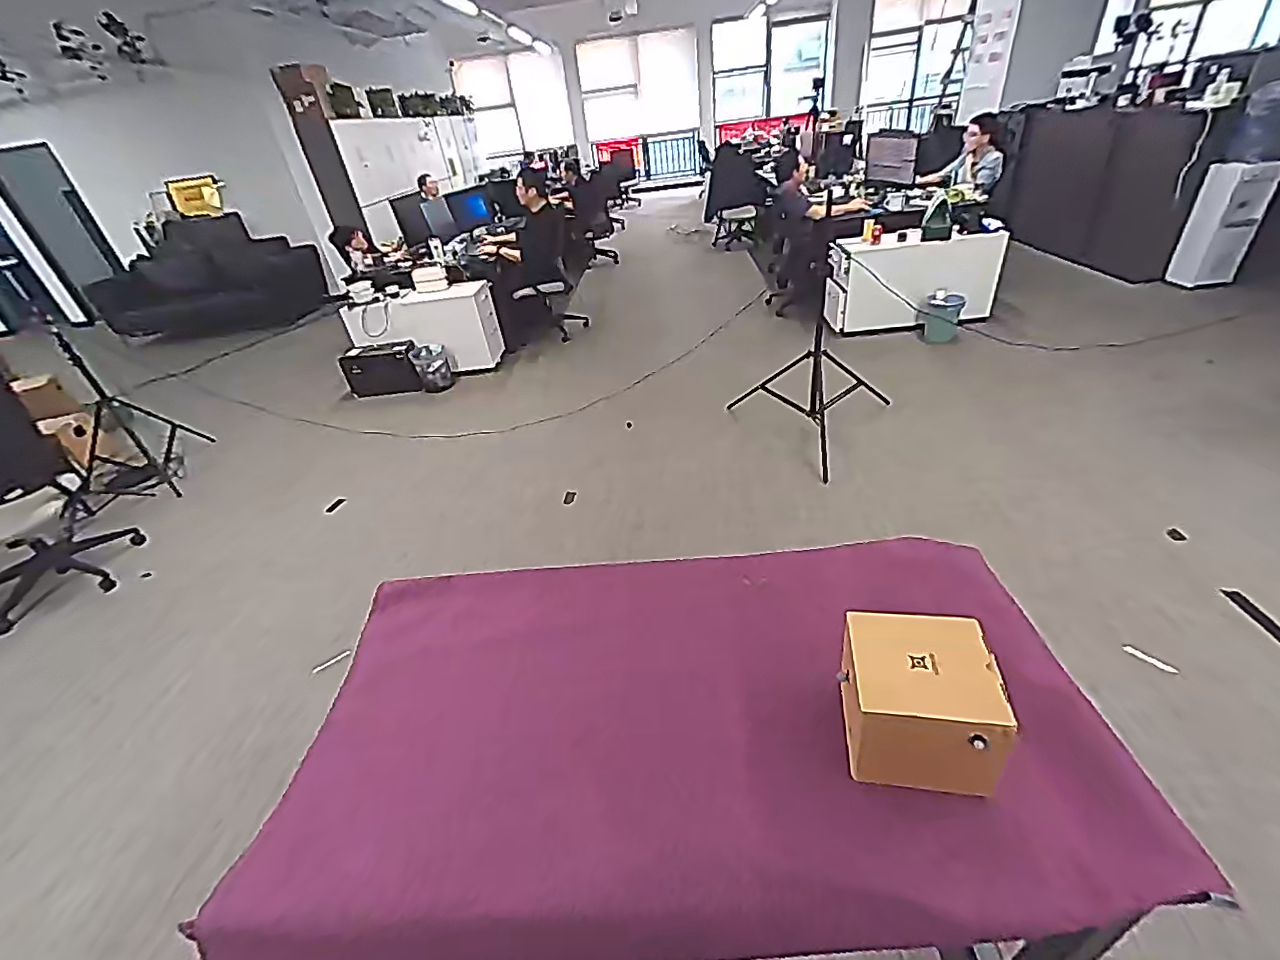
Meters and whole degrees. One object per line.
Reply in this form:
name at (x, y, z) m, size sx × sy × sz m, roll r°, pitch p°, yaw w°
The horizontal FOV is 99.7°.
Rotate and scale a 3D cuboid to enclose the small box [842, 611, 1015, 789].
small box at (0.385, 0.306, 0.760) m, size 0.179 × 0.176 × 0.168 m, roll 0°, pitch 35°, yaw 13°
